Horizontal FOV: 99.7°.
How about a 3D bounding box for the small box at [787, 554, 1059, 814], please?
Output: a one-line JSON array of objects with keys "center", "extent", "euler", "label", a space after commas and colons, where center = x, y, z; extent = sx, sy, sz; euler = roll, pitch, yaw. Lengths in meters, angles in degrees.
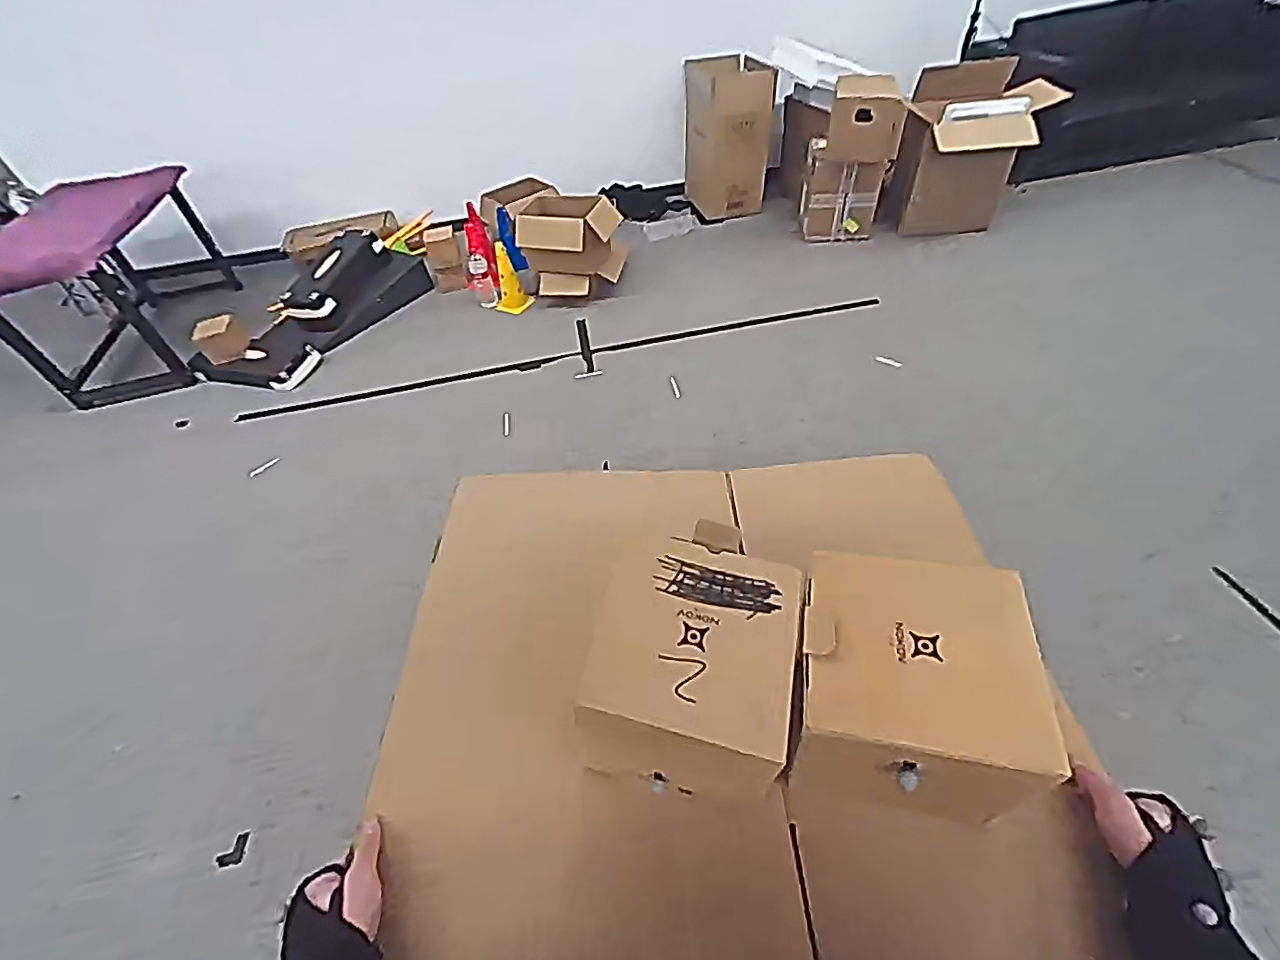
[{"center": [0.237, 0.192, 0.505], "extent": [0.179, 0.176, 0.168], "euler": [4, 49, 14], "label": "small box"}]
